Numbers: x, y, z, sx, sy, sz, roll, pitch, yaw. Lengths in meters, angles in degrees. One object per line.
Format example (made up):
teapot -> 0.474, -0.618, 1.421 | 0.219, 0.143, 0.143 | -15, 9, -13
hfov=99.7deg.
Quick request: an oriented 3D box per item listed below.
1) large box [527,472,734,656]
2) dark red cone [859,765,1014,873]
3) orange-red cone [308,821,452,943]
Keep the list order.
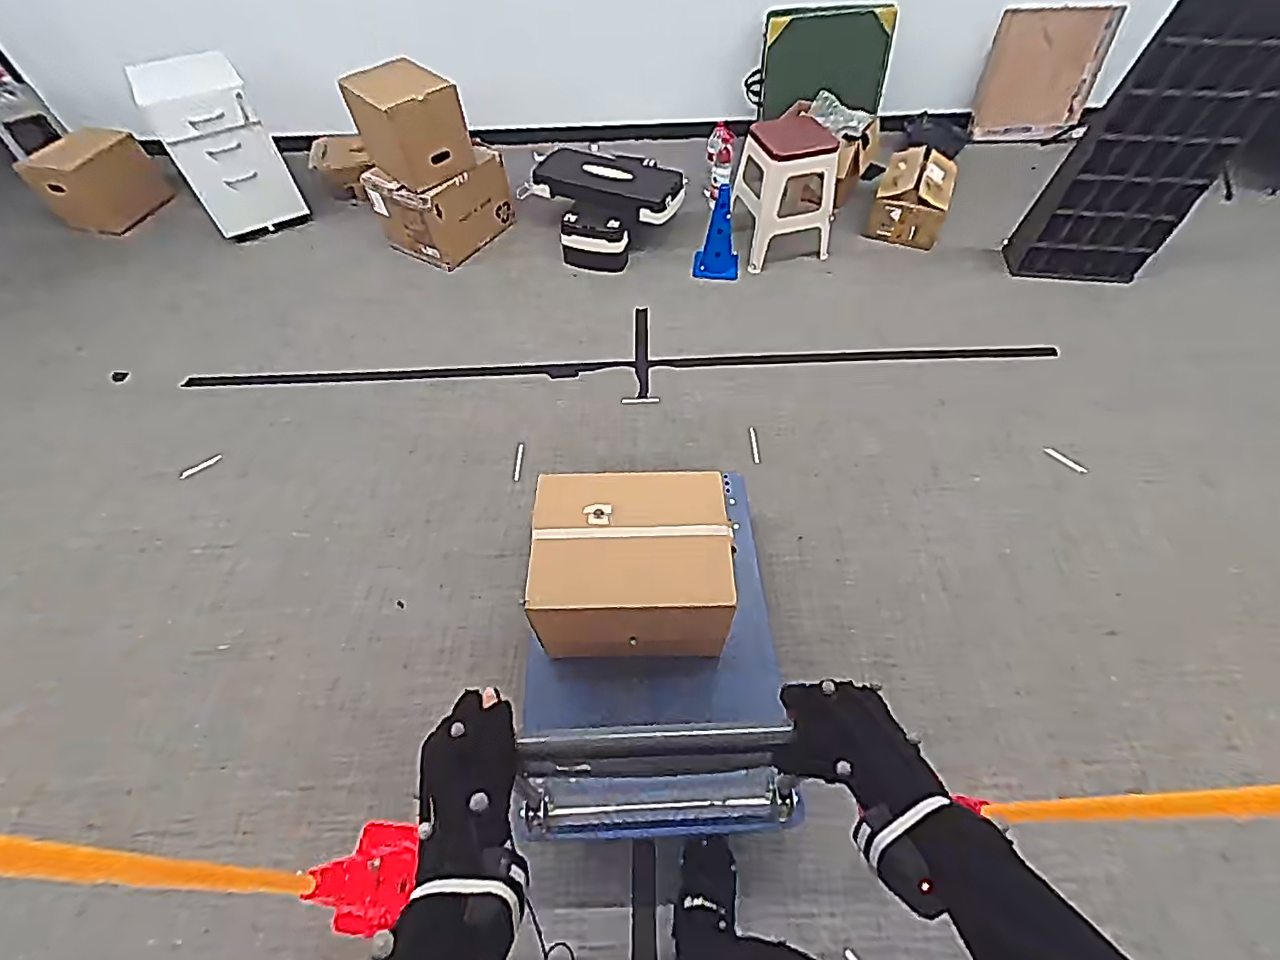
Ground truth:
large box -> -0.016, 0.201, 1.234 | 0.408, 0.320, 0.320 | -2, 55, 1
dark red cone -> 0.599, 0.646, 1.054 | 0.201, 0.394, 0.202 | -1, 55, -1
orange-red cone -> -0.529, 0.763, 1.035 | 0.198, 0.360, 0.199 | 5, 54, 4
